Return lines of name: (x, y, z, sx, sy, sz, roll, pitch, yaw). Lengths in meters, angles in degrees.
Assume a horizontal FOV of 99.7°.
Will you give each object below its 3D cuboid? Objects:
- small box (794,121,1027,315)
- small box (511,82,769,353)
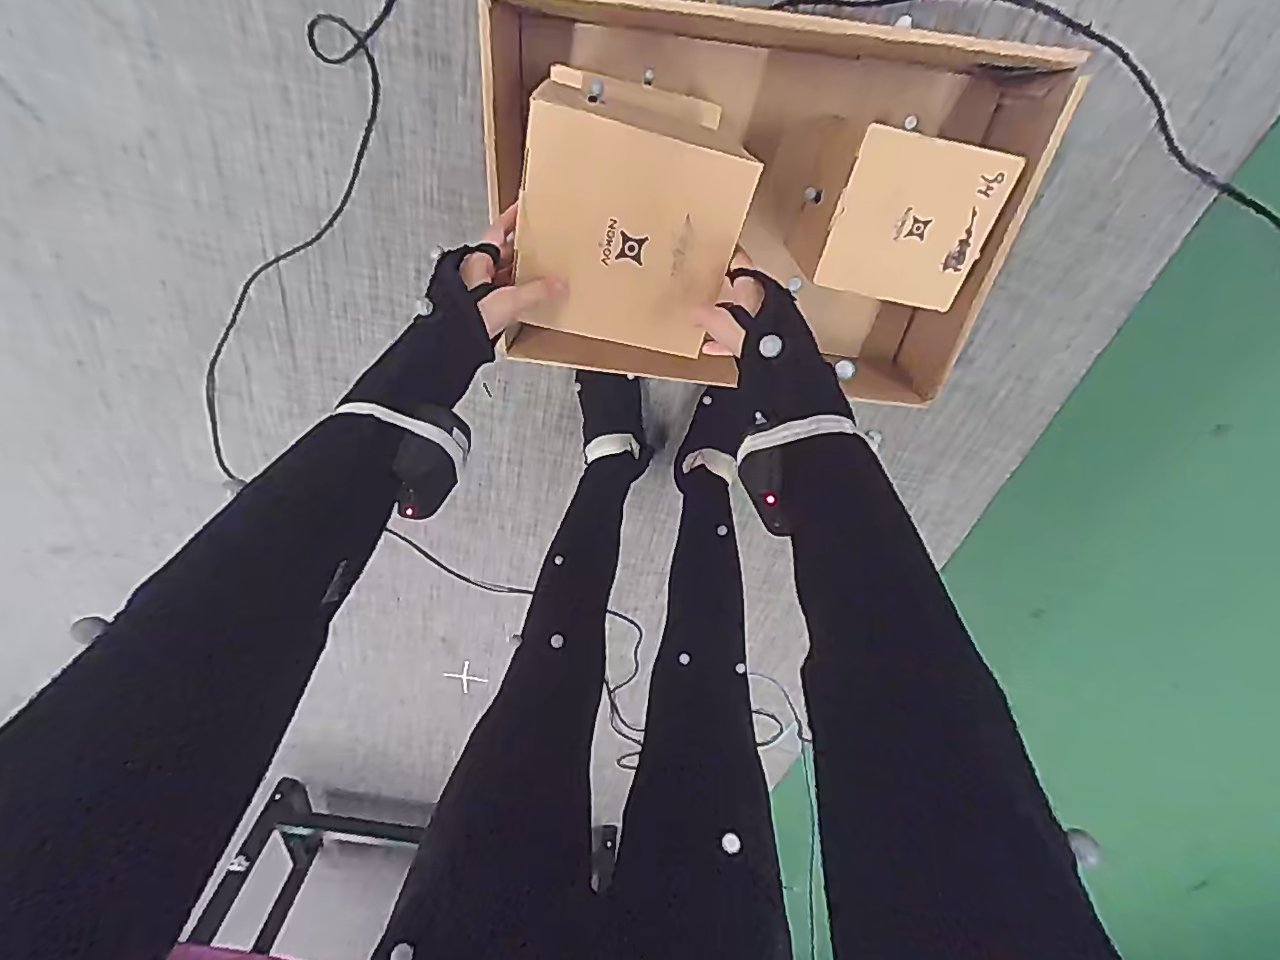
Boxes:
small box: (0.308, -0.327, 0.666, 0.179, 0.176, 0.168, 12, 125, -4)
small box: (-0.012, -0.243, 0.499, 0.179, 0.176, 0.168, 10, 127, -13)
